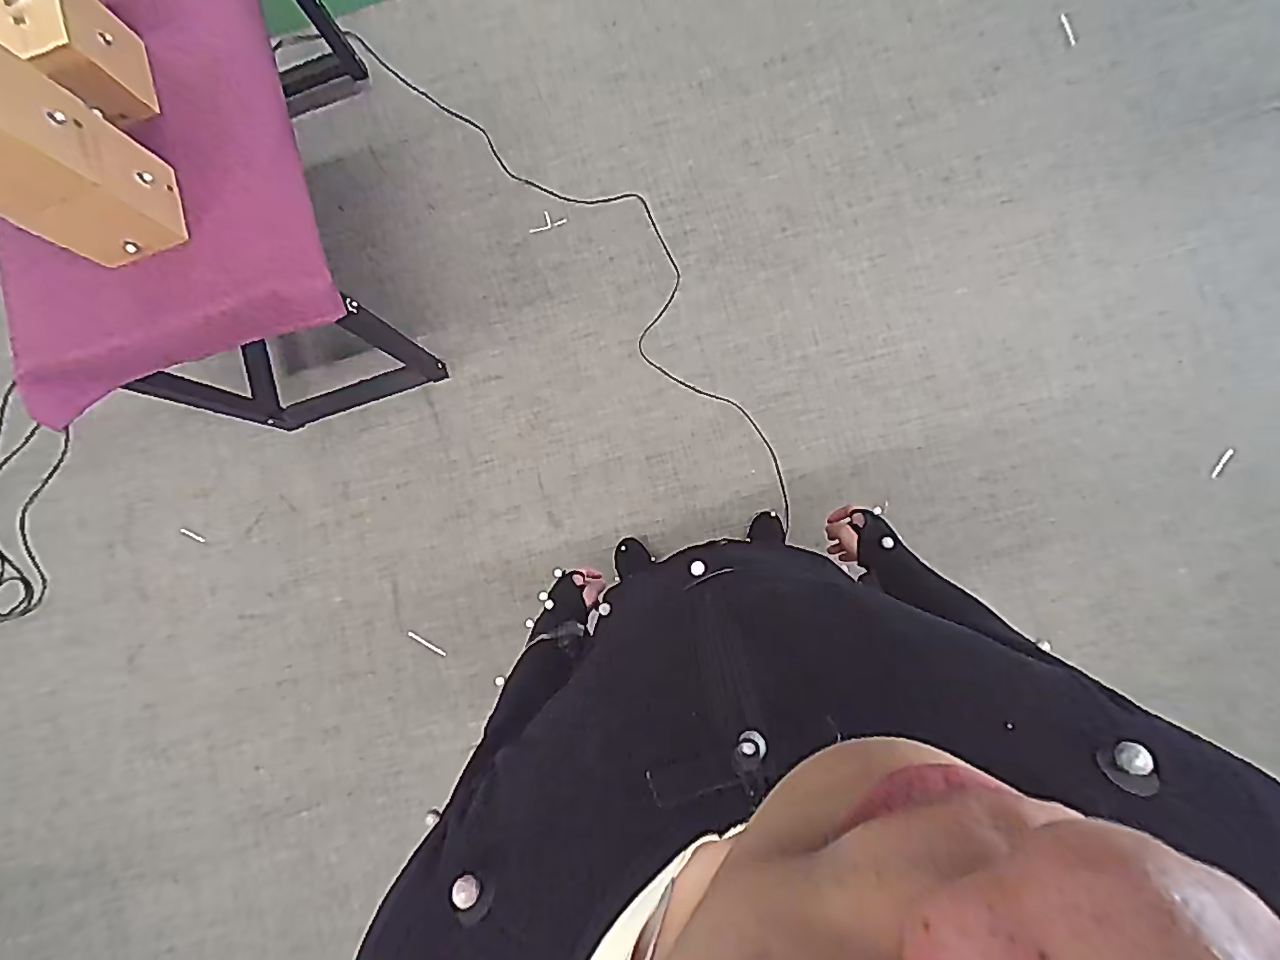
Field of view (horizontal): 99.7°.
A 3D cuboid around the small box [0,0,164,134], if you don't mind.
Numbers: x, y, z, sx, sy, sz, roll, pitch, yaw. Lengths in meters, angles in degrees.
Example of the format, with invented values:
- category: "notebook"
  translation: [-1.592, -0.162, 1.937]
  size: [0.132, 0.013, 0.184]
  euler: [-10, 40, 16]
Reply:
- category: "small box"
  translation: [-1.073, -0.804, 1.035]
  size: [0.168, 0.176, 0.179]
  euler: [-18, 84, 3]

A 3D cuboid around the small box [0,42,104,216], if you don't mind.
- category: "small box"
  translation: [-1.004, -0.546, 0.837]
  size: [0.179, 0.176, 0.168]
  euler: [-18, 84, 3]

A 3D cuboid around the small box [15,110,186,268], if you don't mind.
- category: "small box"
  translation: [-0.991, -0.527, 1.000]
  size: [0.179, 0.176, 0.168]
  euler: [-18, 82, 3]
